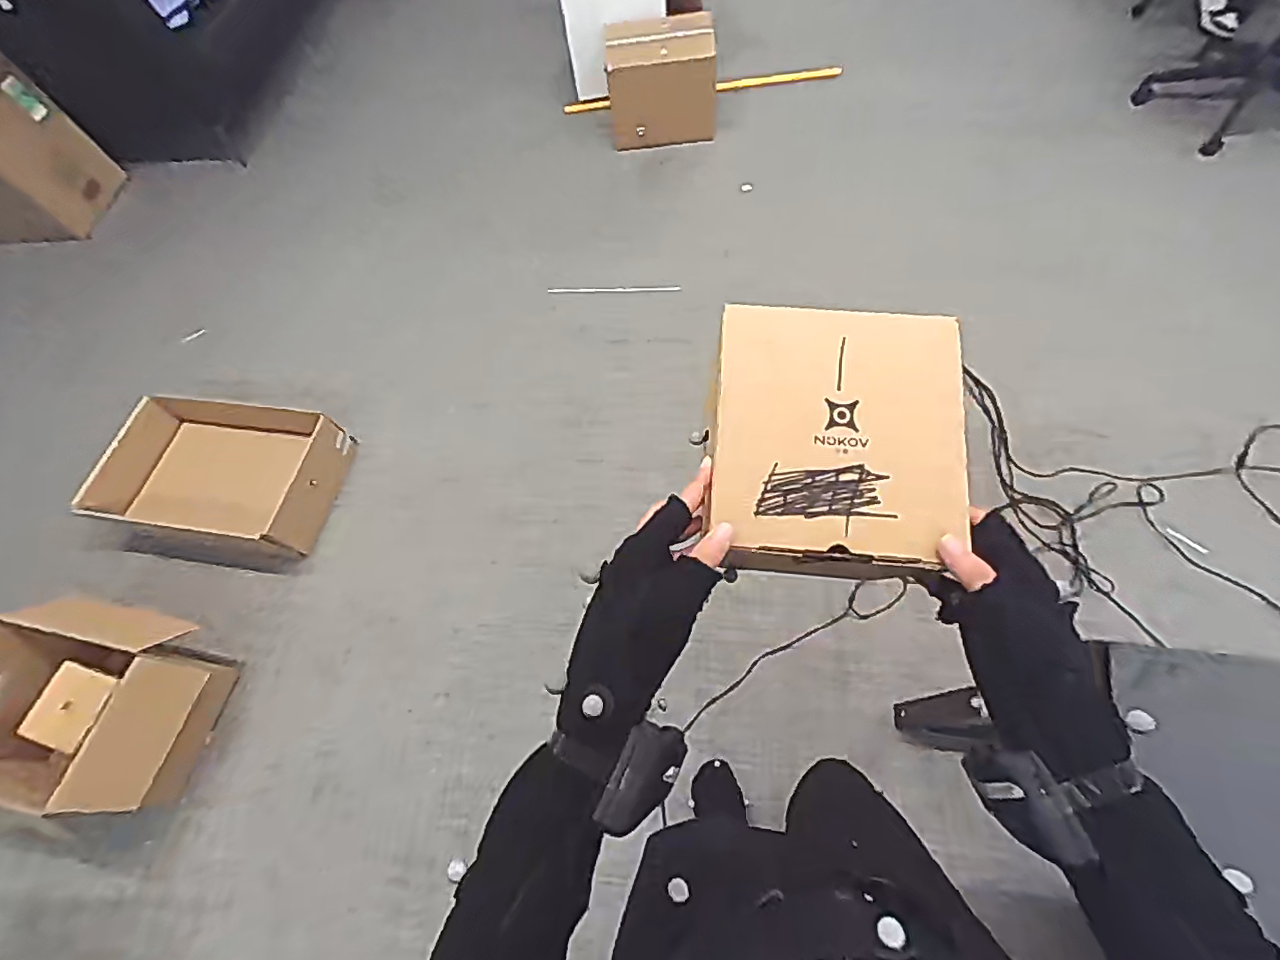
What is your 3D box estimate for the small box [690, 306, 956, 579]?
[{"bbox_3d":[0.131,-0.016,0.444,0.168,0.176,0.179,5,75,3],"label":"small box"}]
